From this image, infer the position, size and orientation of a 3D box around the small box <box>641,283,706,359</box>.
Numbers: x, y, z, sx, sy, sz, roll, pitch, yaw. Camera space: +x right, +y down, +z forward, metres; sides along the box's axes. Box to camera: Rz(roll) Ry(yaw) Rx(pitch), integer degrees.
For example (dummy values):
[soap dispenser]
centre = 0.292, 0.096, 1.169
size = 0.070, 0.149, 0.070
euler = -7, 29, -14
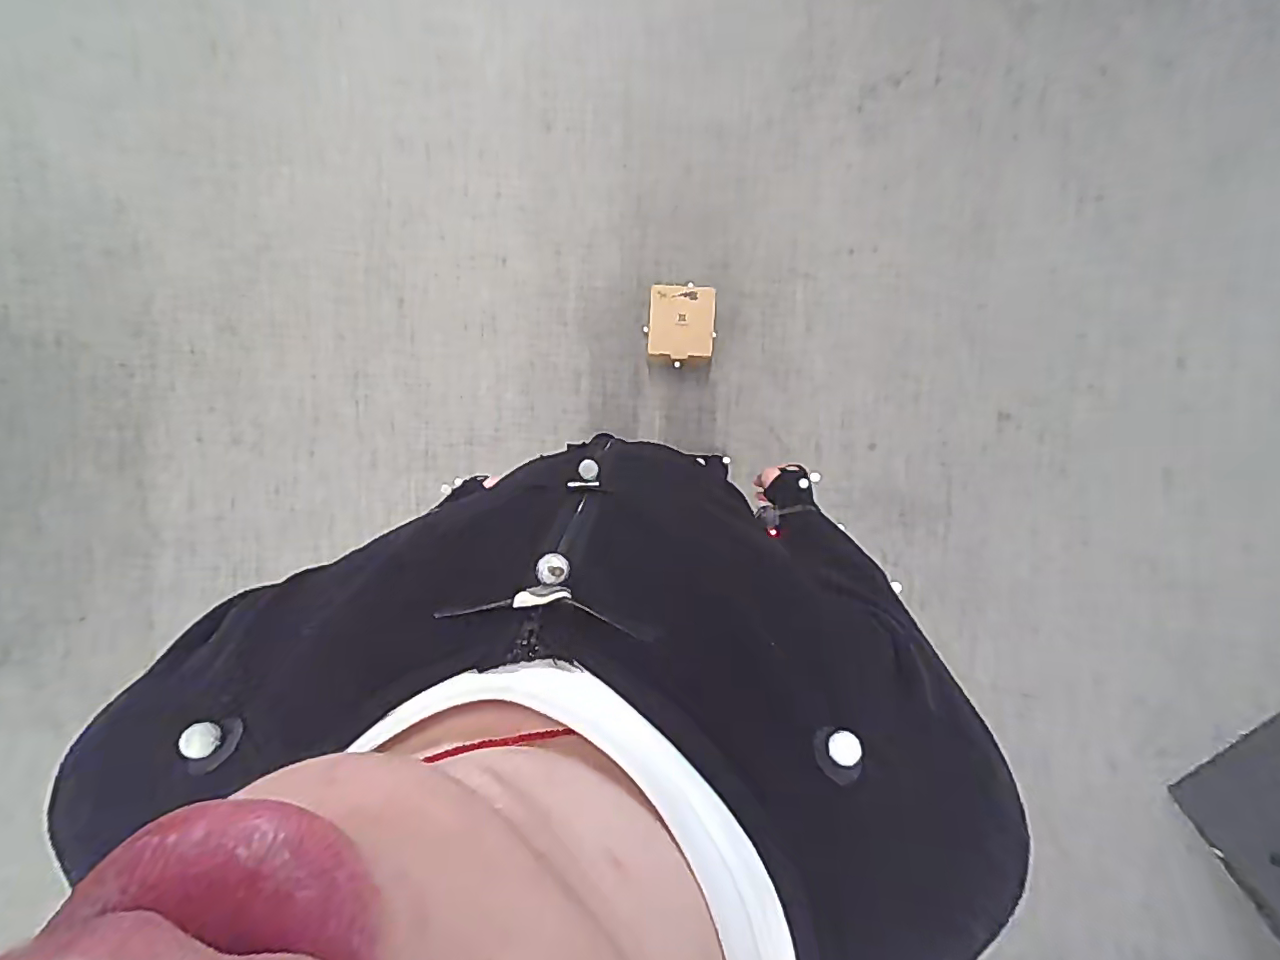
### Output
[small box]
centre = 0.088, -0.424, 1.467
size = 0.168, 0.176, 0.179
euler = 1, 95, 0
